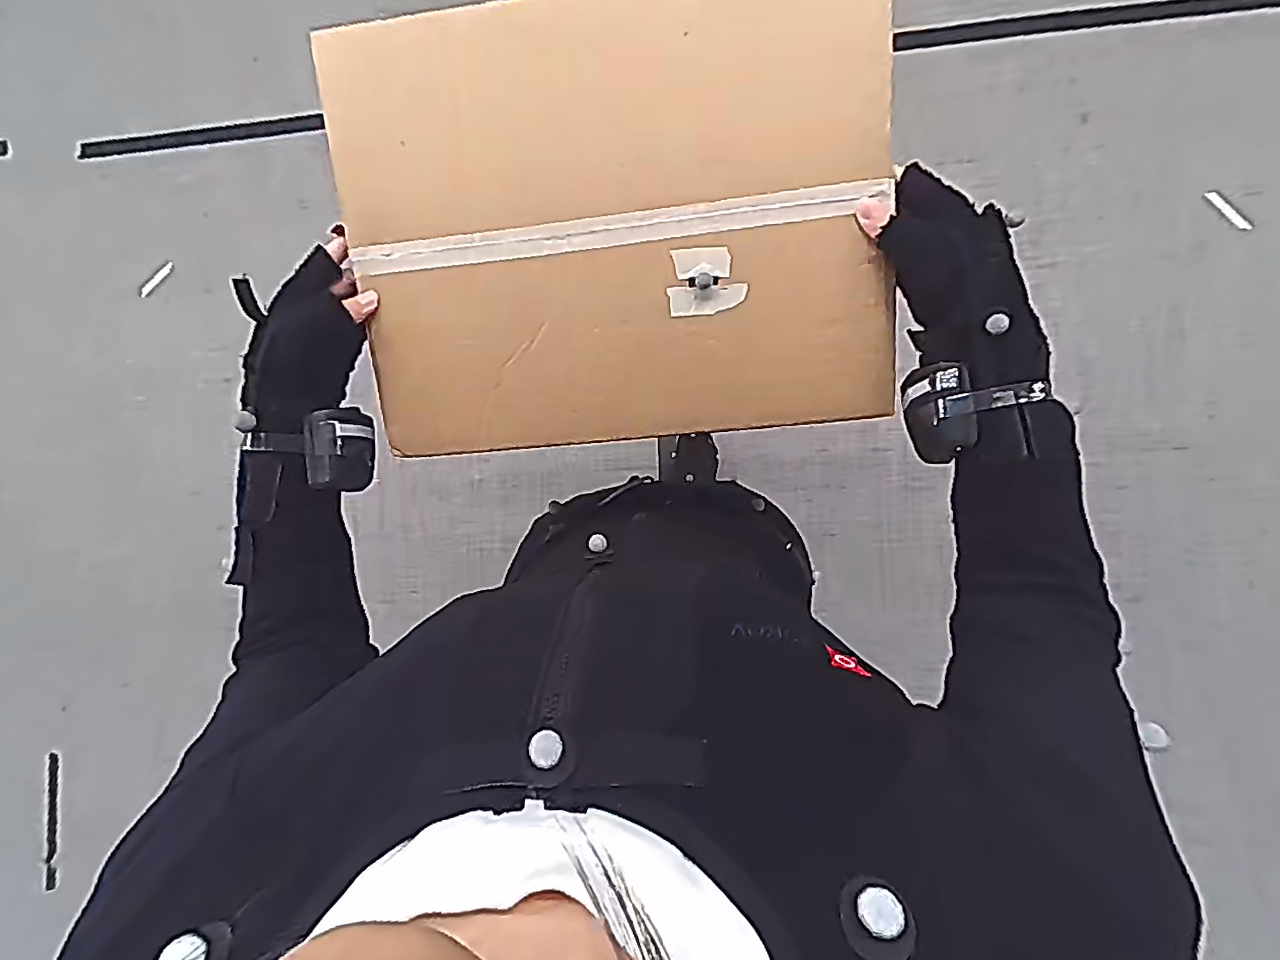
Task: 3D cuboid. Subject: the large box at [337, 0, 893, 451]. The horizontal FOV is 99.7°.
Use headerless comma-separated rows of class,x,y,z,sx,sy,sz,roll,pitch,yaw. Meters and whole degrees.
large box,-0.006,-0.224,0.559,0.408,0.320,0.320,-5,102,5
